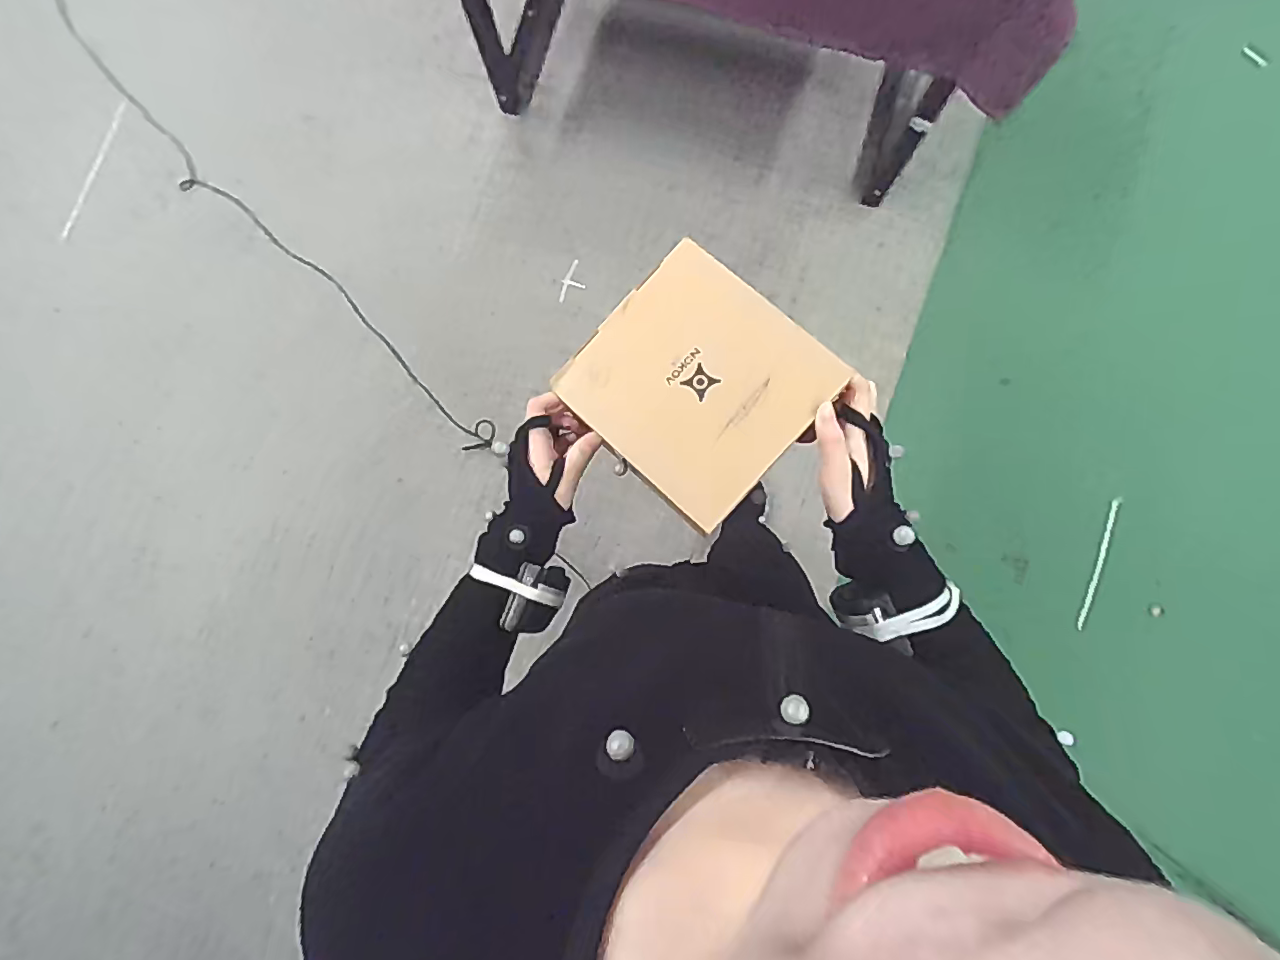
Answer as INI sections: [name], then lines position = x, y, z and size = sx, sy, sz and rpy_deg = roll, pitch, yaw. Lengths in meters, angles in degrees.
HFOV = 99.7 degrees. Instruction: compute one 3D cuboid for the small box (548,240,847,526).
[small box]
position = 0.048, -0.069, 0.498
size = 0.179, 0.176, 0.168
rpy_deg = 42, 88, 9
